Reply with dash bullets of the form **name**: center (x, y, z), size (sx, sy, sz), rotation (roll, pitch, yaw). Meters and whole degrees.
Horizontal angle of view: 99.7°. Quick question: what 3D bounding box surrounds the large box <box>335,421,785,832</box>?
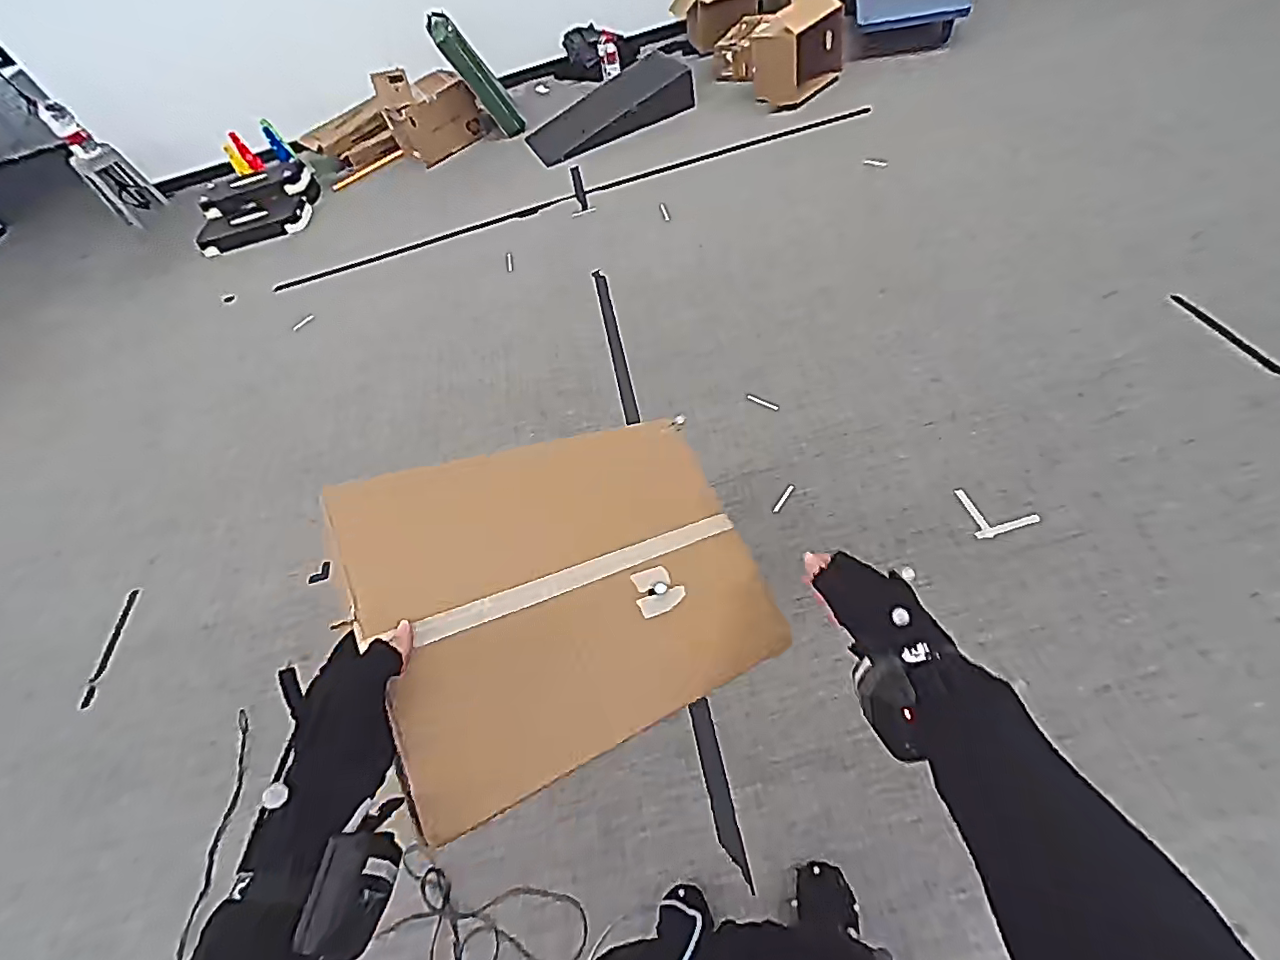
- **large box**: center (-0.115, 0.166, 0.673), size (0.408, 0.320, 0.320), rotation (-14, 70, -32)
